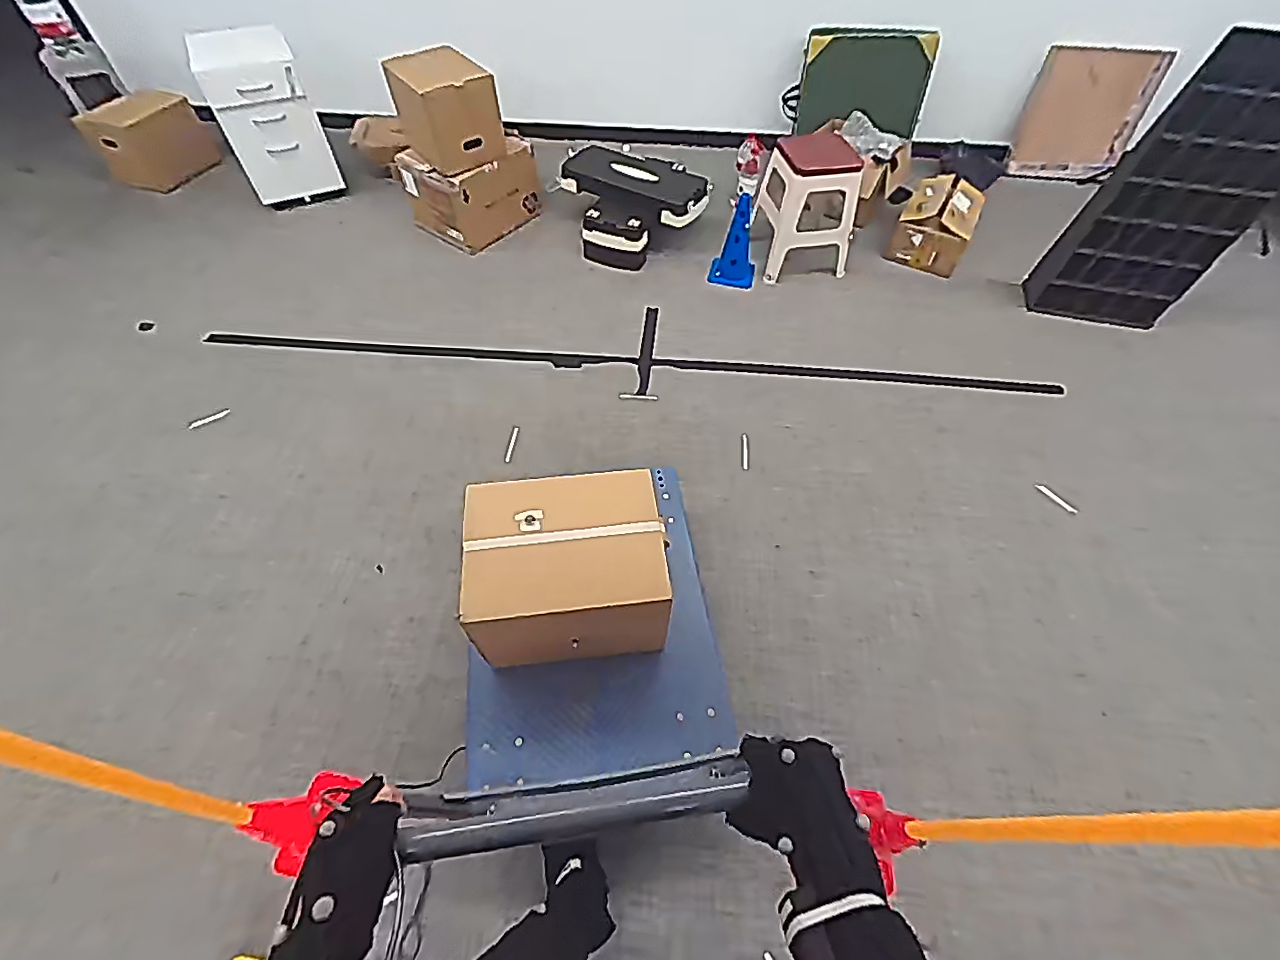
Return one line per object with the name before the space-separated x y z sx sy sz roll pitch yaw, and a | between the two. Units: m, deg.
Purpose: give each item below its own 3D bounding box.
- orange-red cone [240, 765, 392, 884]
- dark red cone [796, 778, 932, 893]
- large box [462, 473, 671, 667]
orange-red cone | -0.677 0.661 1.070 0.198 0.360 0.199 12 53 6
dark red cone | 0.457 0.682 1.059 0.201 0.394 0.202 6 55 1
large box | -0.156 0.211 1.228 0.408 0.320 0.320 -5 55 -4
